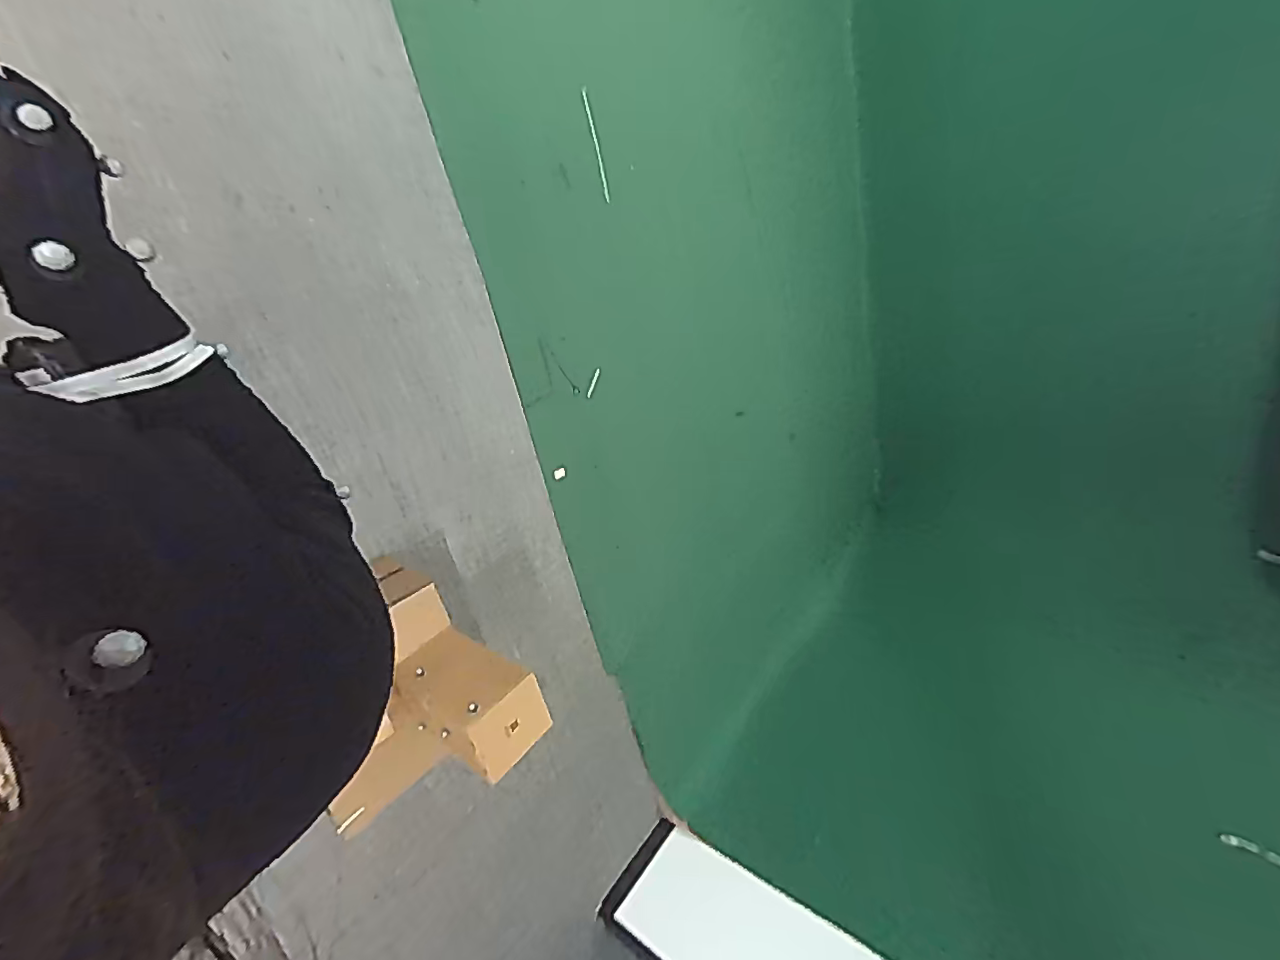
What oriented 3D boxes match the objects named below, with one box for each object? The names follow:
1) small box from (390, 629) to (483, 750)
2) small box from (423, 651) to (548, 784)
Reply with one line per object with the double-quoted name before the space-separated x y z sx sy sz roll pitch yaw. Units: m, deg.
"small box" -0.464 0.488 1.284 0.179 0.176 0.168 -37 124 -40
"small box" -0.337 0.508 1.184 0.179 0.176 0.168 -35 122 -40
